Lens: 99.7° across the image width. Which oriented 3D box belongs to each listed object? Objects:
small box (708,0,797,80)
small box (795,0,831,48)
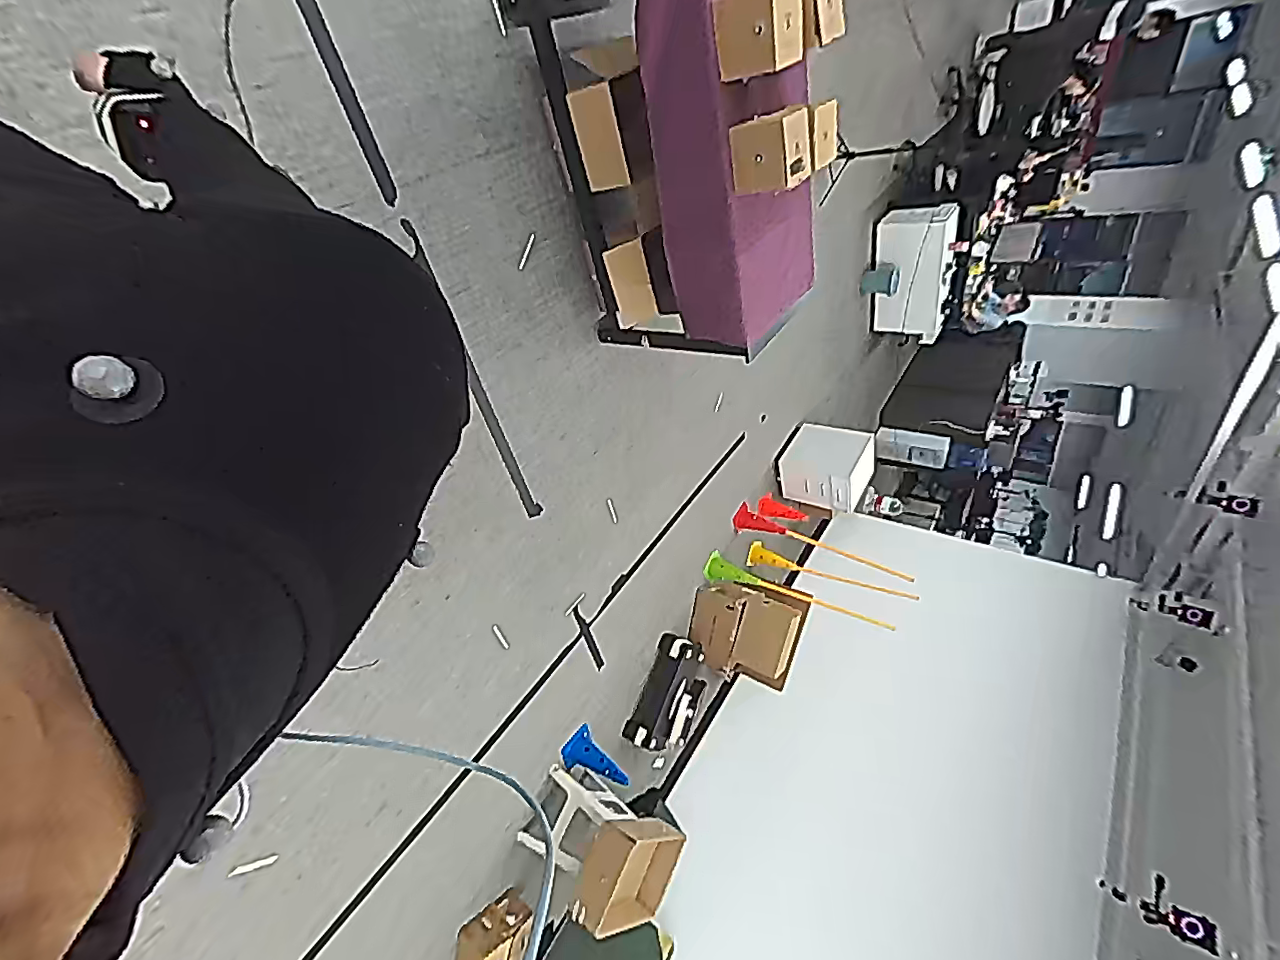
[{"bbox_3d":[0.291,-1.175,1.405,0.168,0.176,0.179,-47,137,-33],"label":"small box"},{"bbox_3d":[0.426,-1.334,1.529,0.168,0.176,0.179,-49,138,-31],"label":"small box"}]
